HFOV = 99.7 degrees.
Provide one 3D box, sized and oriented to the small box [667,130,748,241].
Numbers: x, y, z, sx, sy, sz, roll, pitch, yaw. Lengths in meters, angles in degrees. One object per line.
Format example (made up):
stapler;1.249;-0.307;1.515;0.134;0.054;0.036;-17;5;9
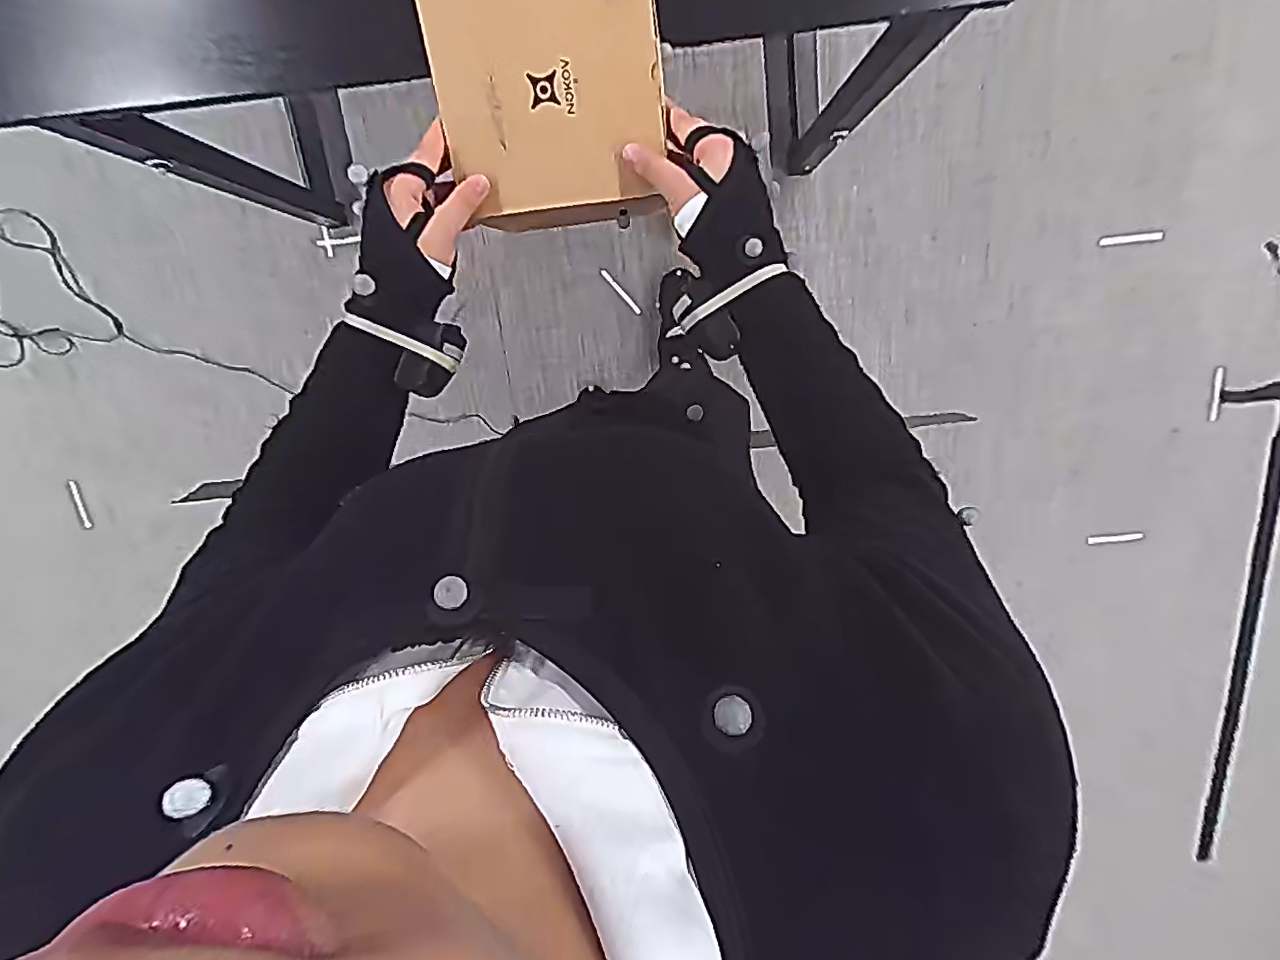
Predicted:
small box;0.148;-0.666;1.240;0.168;0.176;0.179;-6;104;3

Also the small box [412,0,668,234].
small box;-0.072;-0.326;0.487;0.179;0.176;0.168;-6;109;4
